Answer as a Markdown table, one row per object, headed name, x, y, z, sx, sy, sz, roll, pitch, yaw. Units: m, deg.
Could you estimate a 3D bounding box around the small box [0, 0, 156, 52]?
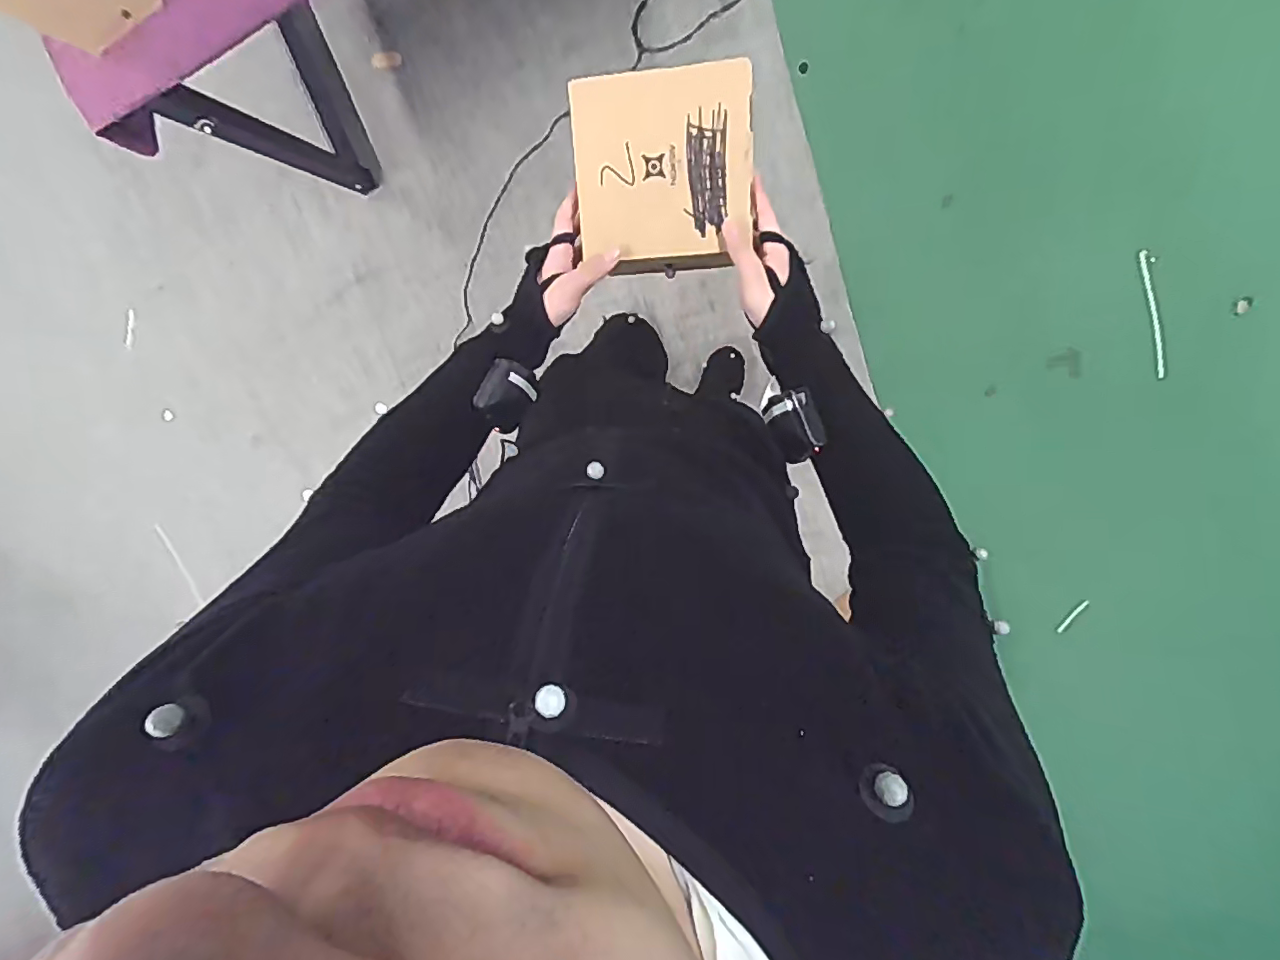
| name | x | y | z | sx | sy | sz | roll | pitch | yaw |
| --- | --- | --- | --- | --- | --- | --- | --- | --- | --- |
| small box | -0.845 | -0.758 | 0.748 | 0.168 | 0.176 | 0.179 | -20 | 99 | 14 |
